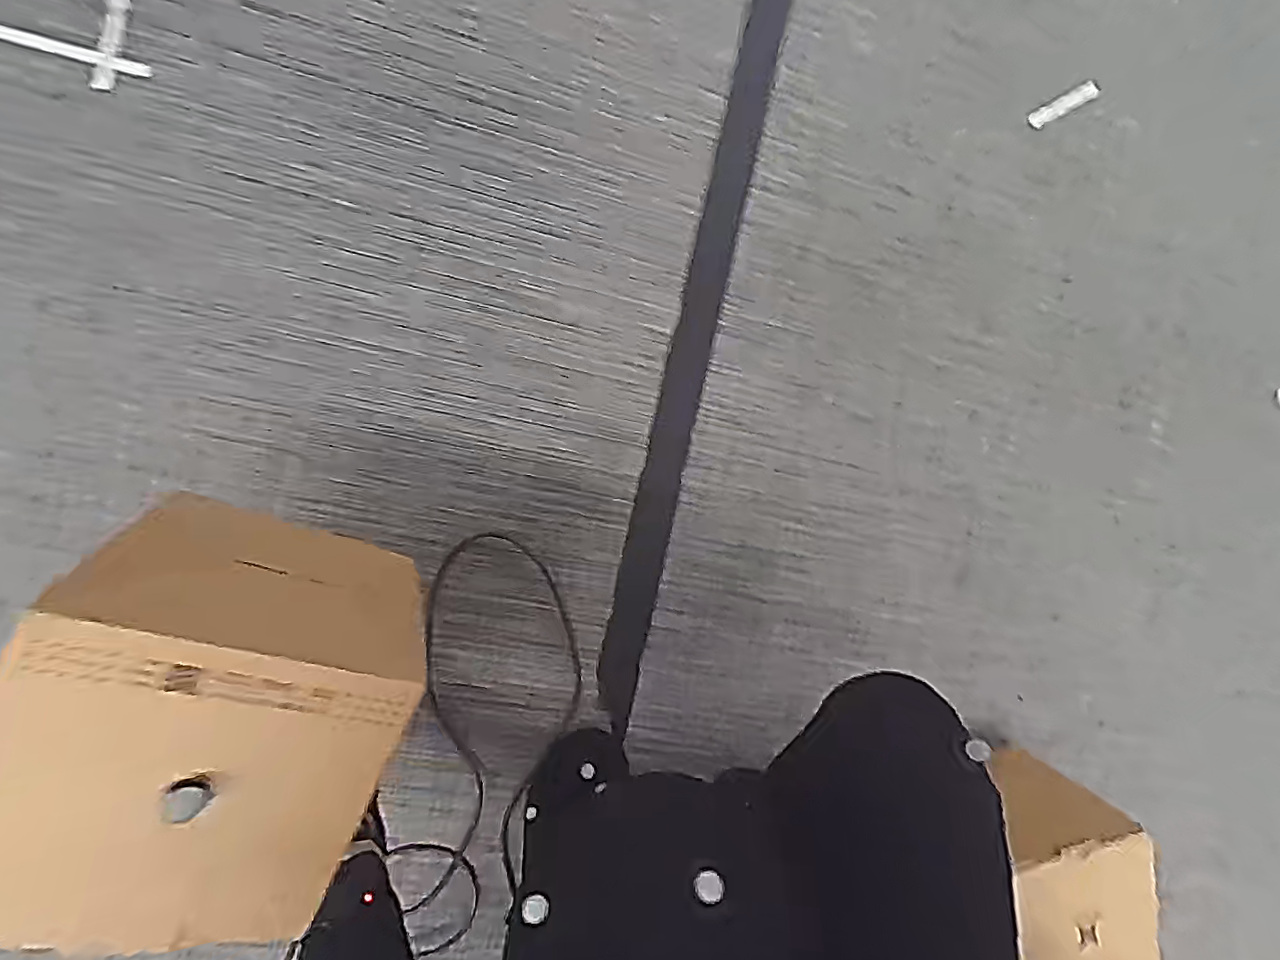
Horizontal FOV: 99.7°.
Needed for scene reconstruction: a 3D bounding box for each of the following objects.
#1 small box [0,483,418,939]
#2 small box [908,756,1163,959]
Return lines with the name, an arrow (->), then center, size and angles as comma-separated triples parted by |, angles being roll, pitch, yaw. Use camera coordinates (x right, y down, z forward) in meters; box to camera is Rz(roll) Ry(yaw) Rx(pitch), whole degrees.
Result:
small box -> -0.247, 0.117, 0.321 | 0.168, 0.179, 0.176 | 25, 95, -27
small box -> 0.431, 0.442, 0.613 | 0.168, 0.176, 0.179 | -9, 95, -8
